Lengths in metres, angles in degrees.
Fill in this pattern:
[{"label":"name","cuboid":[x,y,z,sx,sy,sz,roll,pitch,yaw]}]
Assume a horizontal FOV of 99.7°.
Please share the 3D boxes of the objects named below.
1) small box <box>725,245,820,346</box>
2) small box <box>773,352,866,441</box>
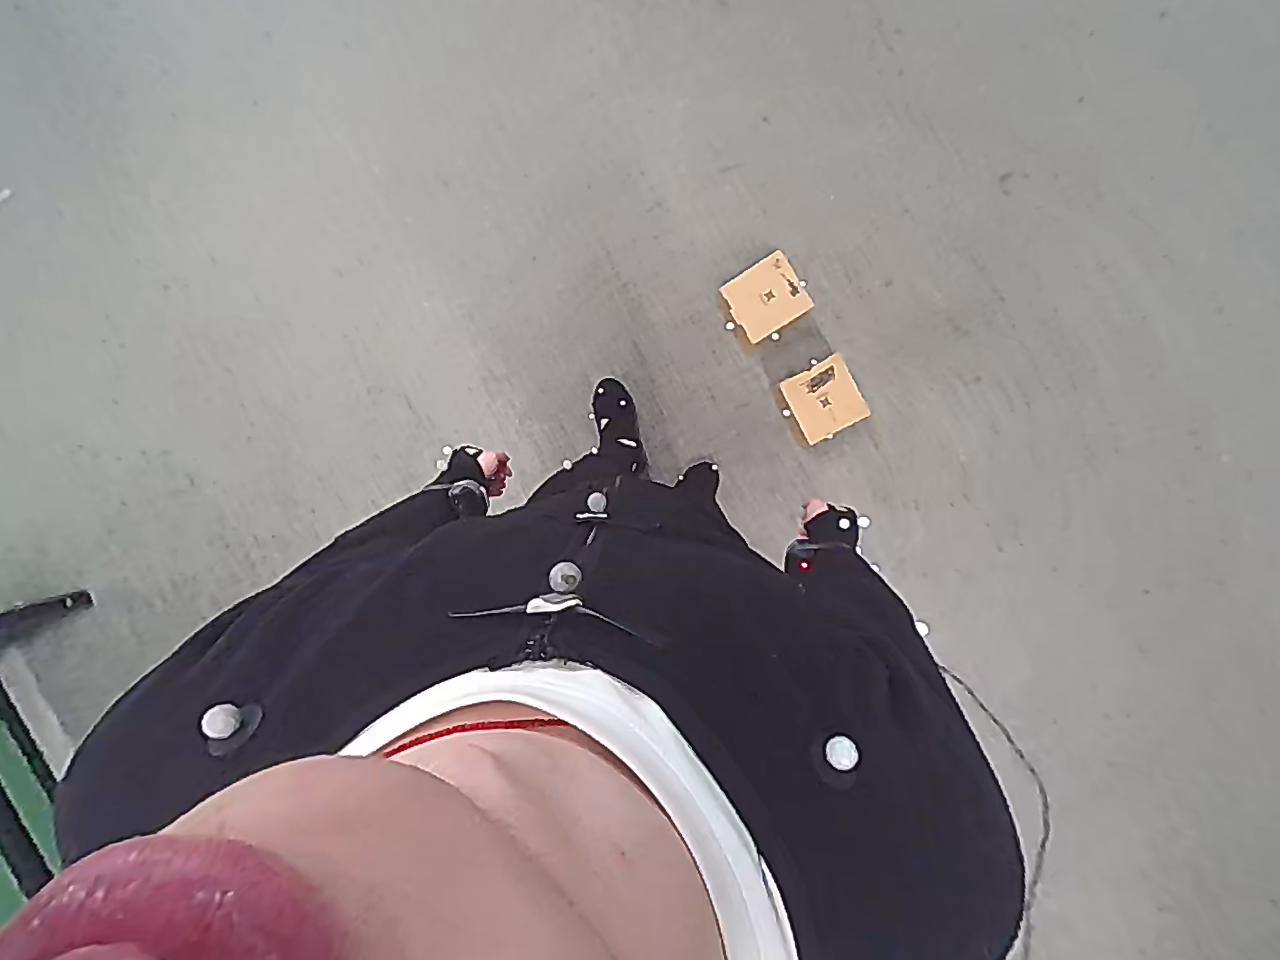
[{"label":"small box","cuboid":[0.332,-0.468,1.403,0.179,0.176,0.168,30,95,5]},{"label":"small box","cuboid":[0.460,-0.211,1.414,0.168,0.176,0.179,-23,91,10]}]
